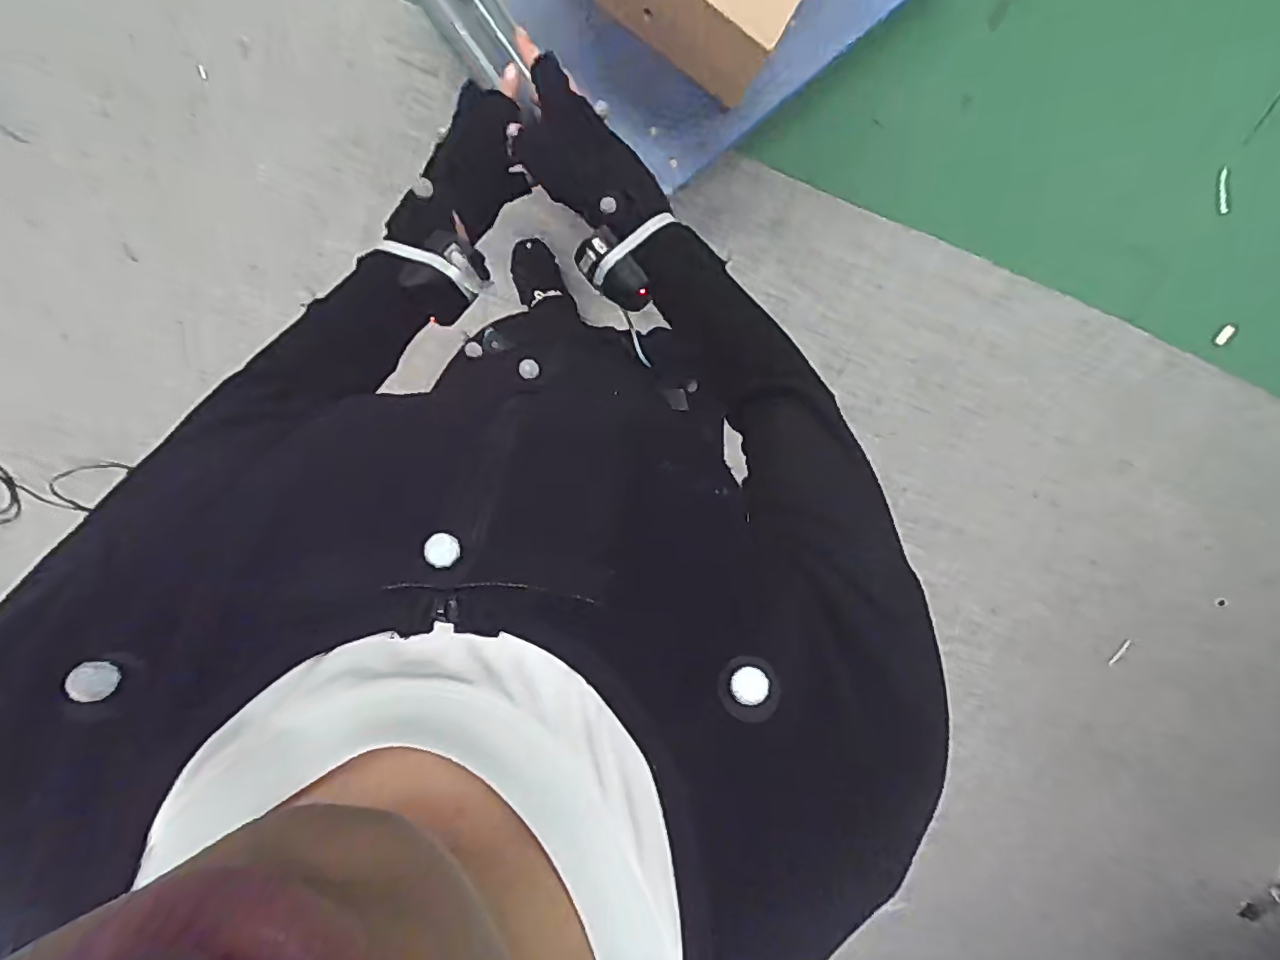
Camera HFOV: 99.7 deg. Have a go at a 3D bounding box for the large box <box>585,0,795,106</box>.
[{"bbox_3d":[0.087,-0.889,0.844,0.408,0.320,0.320,31,107,-12],"label":"large box"}]
